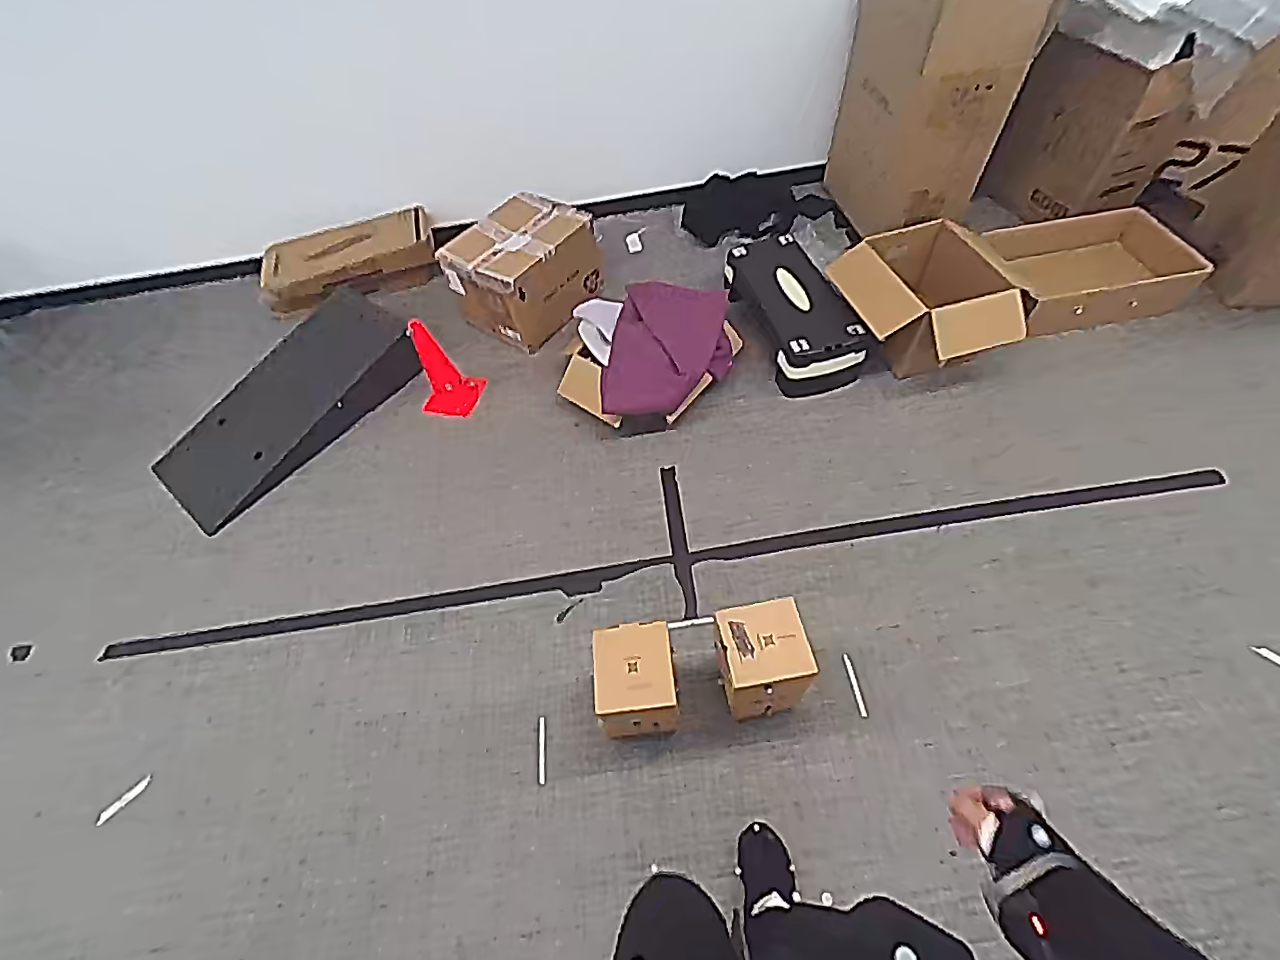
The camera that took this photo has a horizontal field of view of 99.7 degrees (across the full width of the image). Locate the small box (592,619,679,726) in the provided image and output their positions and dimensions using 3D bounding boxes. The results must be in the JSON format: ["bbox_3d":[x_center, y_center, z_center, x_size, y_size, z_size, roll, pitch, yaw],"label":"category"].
[{"bbox_3d":[-0.009,0.424,1.181,0.168,0.176,0.179,-8,57,2],"label":"small box"}]

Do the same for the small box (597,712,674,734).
[{"bbox_3d":[-0.010,0.513,1.318,0.179,0.176,0.168,-8,56,2],"label":"small box"}]

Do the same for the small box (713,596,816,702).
[{"bbox_3d":[0.262,0.374,1.182,0.179,0.176,0.168,-10,56,-1],"label":"small box"}]

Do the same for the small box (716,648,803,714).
[{"bbox_3d":[0.284,0.462,1.321,0.168,0.176,0.179,-10,57,-1],"label":"small box"}]
